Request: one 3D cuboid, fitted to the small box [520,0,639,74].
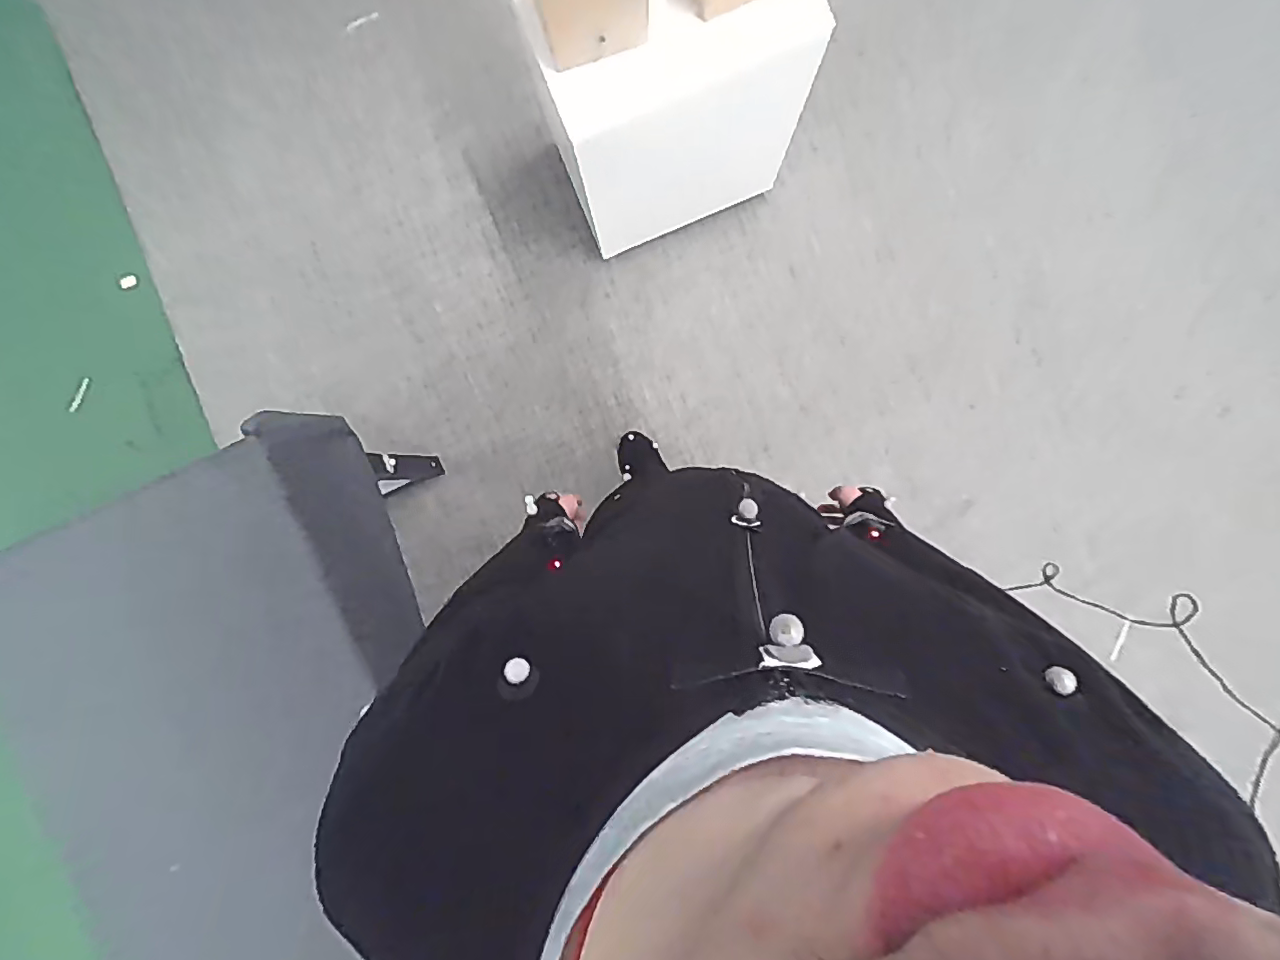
[{"bbox_3d":[-0.105,-0.806,0.865,0.179,0.176,0.168,-19,90,-1],"label":"small box"}]

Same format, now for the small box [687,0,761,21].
[{"bbox_3d":[0.144,-0.898,0.865,0.179,0.176,0.168,-23,90,0],"label":"small box"}]
